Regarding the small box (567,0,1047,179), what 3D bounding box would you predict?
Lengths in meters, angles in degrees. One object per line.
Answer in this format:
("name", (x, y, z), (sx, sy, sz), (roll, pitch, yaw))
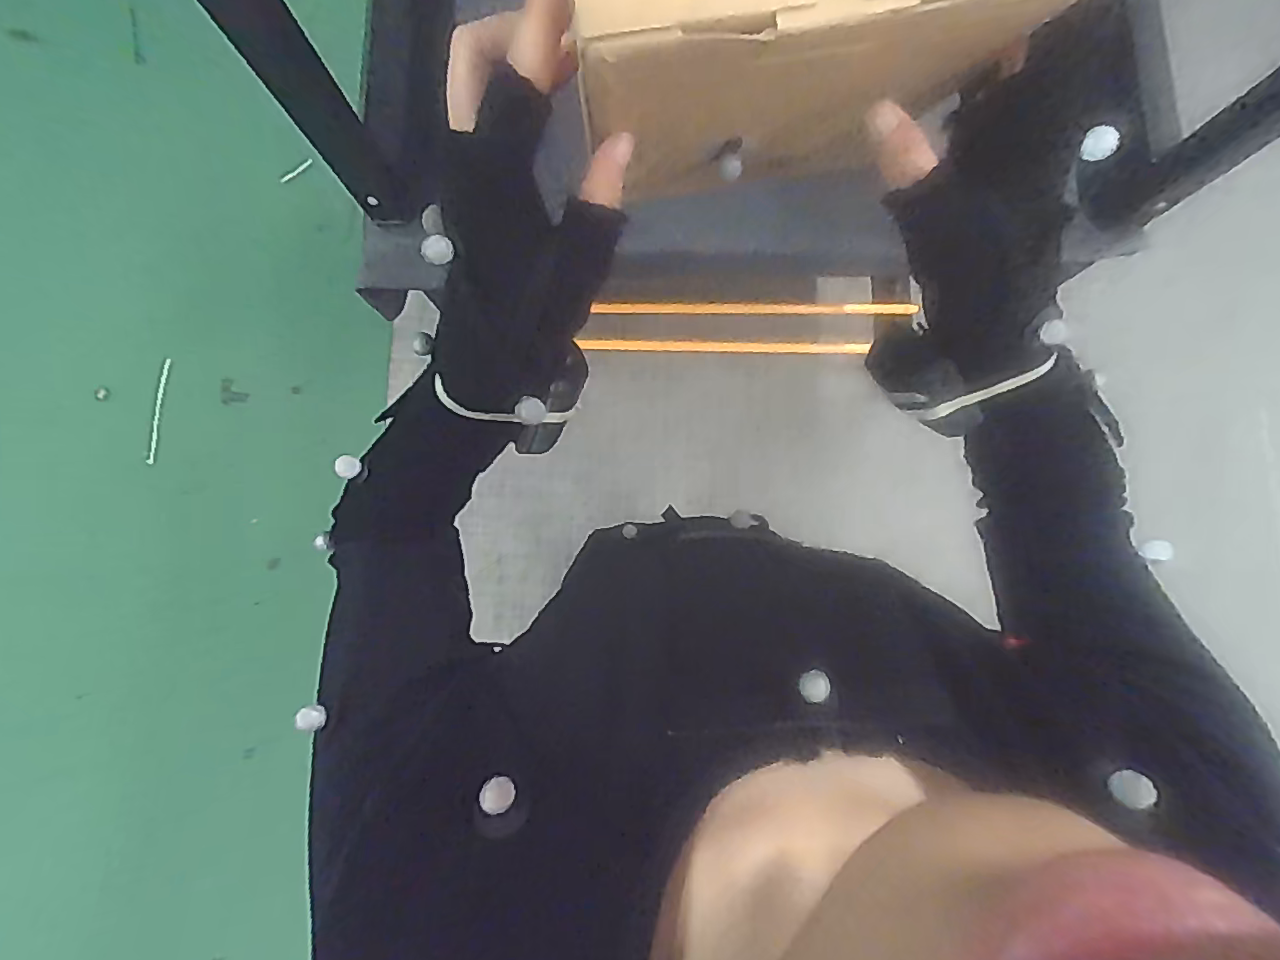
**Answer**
("small box", (0.047, -0.249, 0.215), (0.168, 0.176, 0.179), (-9, 105, 0))
